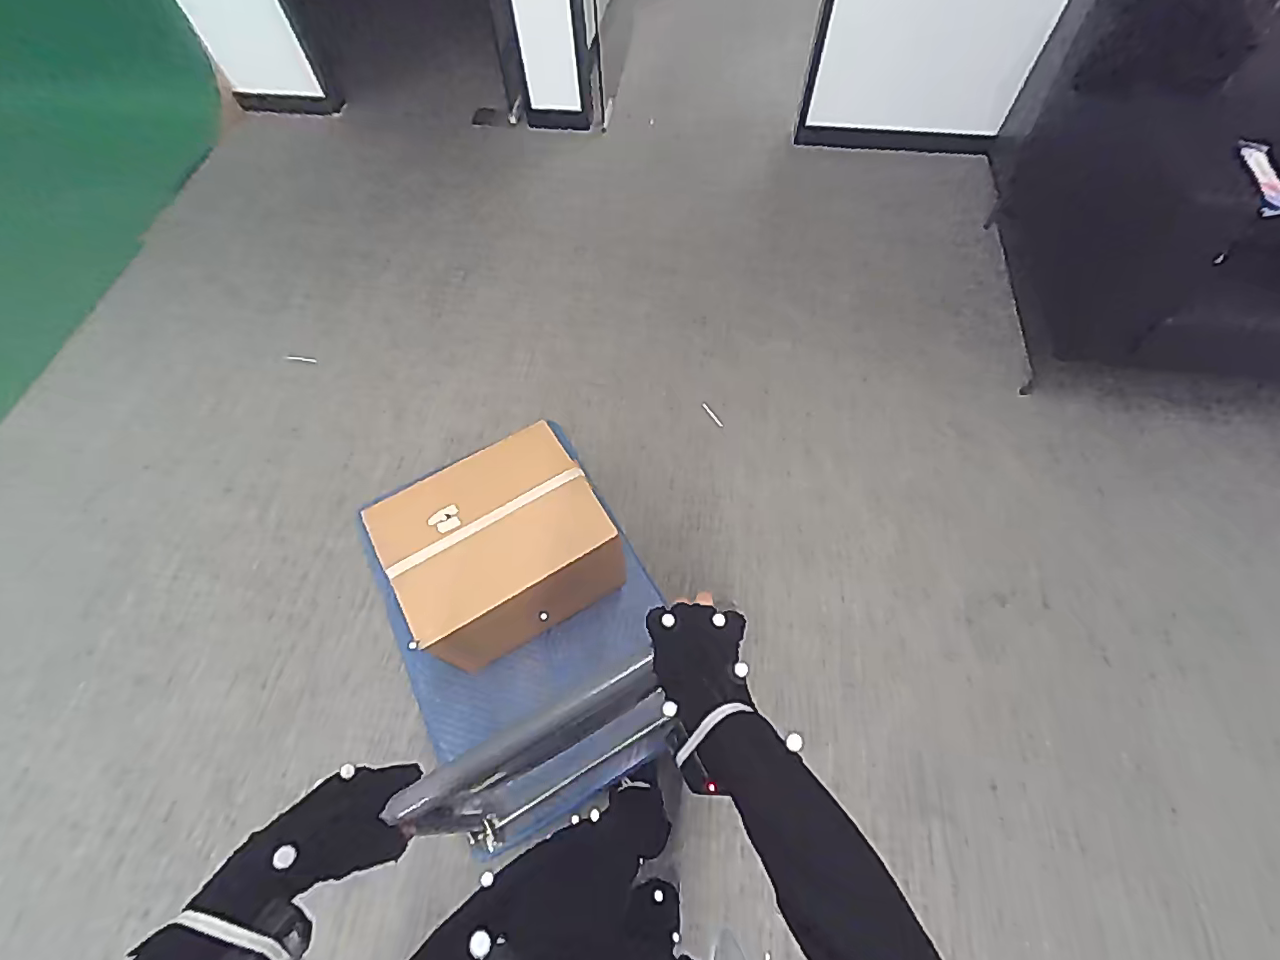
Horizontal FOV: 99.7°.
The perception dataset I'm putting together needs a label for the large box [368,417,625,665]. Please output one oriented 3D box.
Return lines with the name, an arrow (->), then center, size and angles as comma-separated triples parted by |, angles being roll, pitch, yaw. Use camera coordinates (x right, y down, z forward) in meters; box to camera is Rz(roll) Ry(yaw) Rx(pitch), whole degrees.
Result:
large box -> -0.280, 0.141, 1.172 | 0.408, 0.320, 0.320 | -30, 66, -13
